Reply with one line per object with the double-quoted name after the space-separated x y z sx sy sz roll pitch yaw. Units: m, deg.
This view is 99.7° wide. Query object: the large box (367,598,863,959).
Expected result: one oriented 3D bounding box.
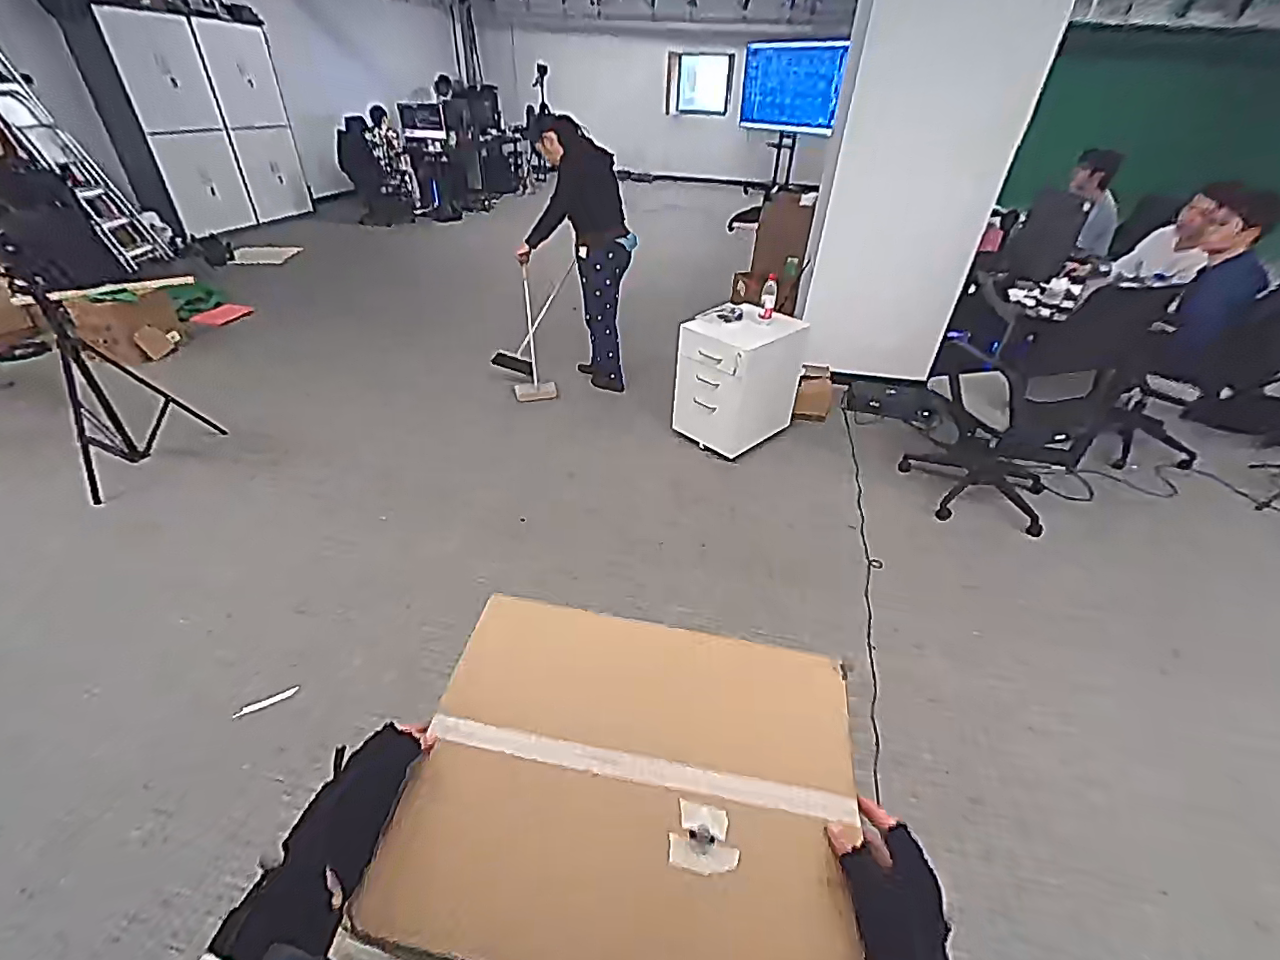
-0.011 0.379 0.623 0.408 0.320 0.320 9 44 5 "large box"
